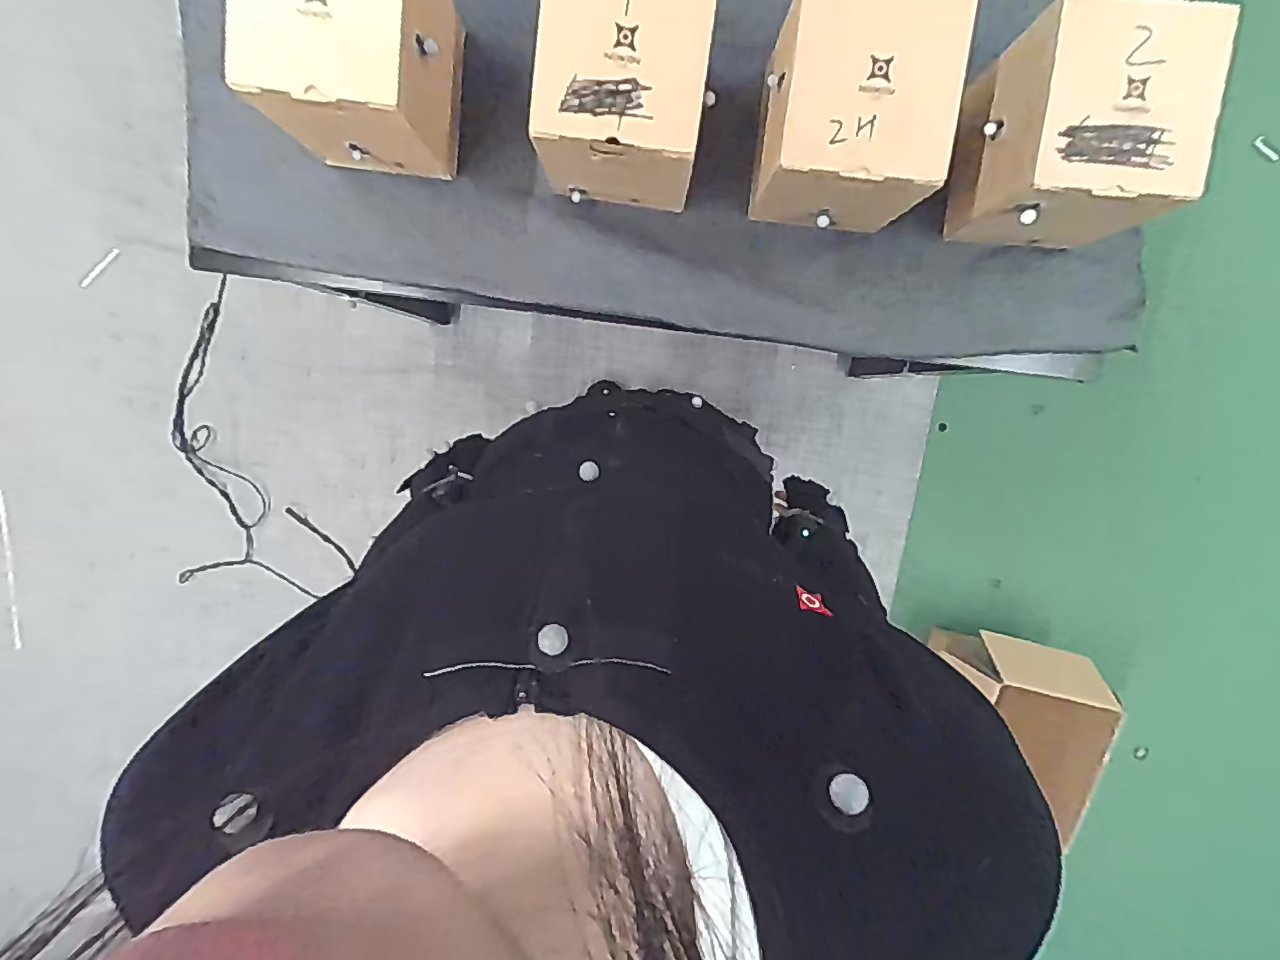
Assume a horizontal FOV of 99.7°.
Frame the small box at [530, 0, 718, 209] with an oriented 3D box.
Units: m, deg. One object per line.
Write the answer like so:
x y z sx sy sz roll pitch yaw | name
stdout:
-0.014 -0.420 0.590 0.168 0.176 0.179 7 98 -1 | small box

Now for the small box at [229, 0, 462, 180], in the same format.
-0.300 -0.458 0.584 0.168 0.176 0.179 6 98 -2 | small box

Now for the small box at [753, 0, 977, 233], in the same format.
0.227 -0.394 0.594 0.168 0.176 0.179 6 99 1 | small box
